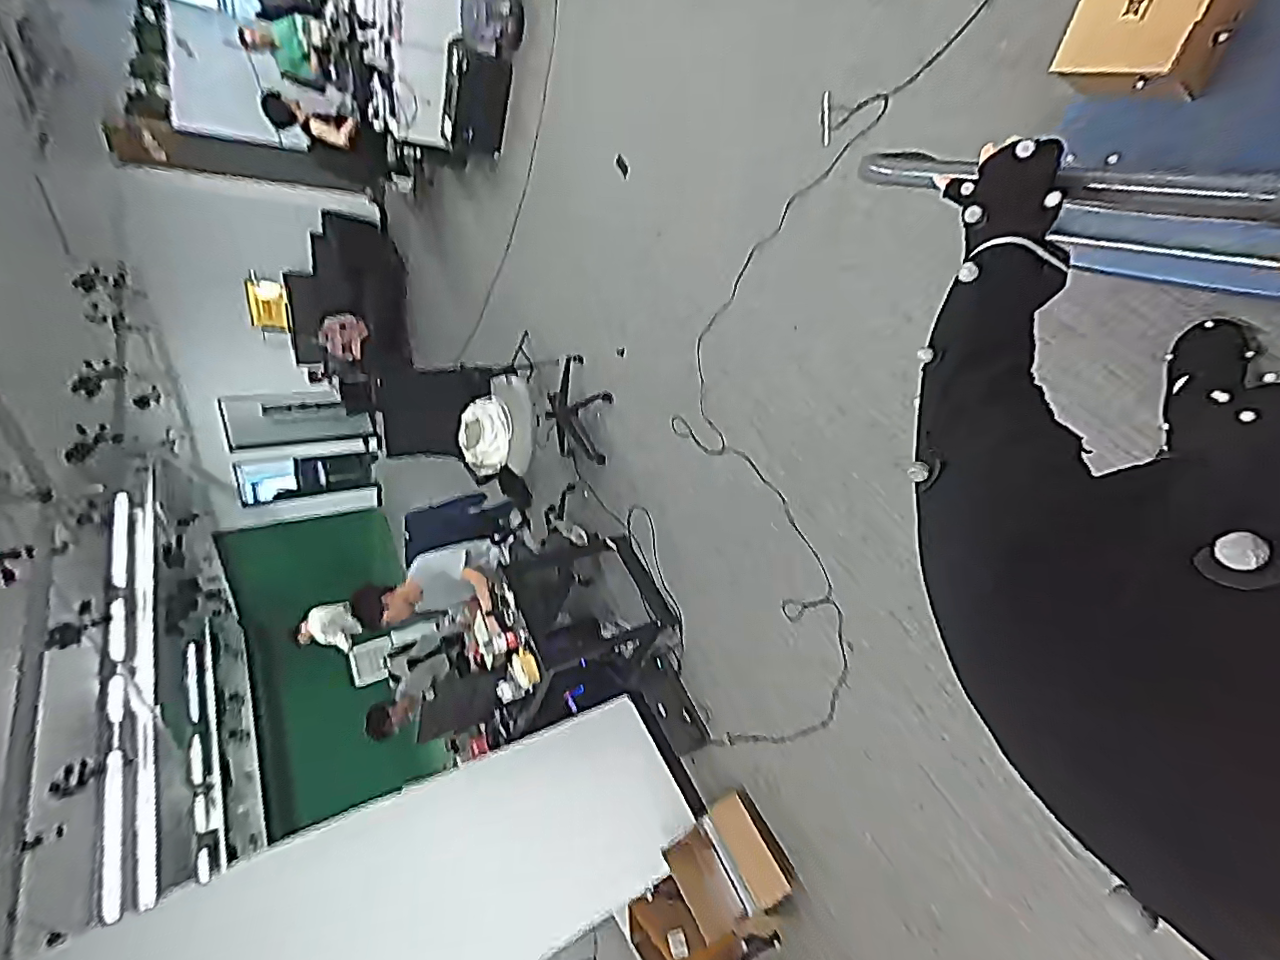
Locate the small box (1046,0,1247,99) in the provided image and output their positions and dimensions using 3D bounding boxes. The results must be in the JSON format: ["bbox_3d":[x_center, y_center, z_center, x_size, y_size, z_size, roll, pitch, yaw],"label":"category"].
[{"bbox_3d":[0.822,-0.737,0.876,0.179,0.176,0.168,41,130,41],"label":"small box"}]
